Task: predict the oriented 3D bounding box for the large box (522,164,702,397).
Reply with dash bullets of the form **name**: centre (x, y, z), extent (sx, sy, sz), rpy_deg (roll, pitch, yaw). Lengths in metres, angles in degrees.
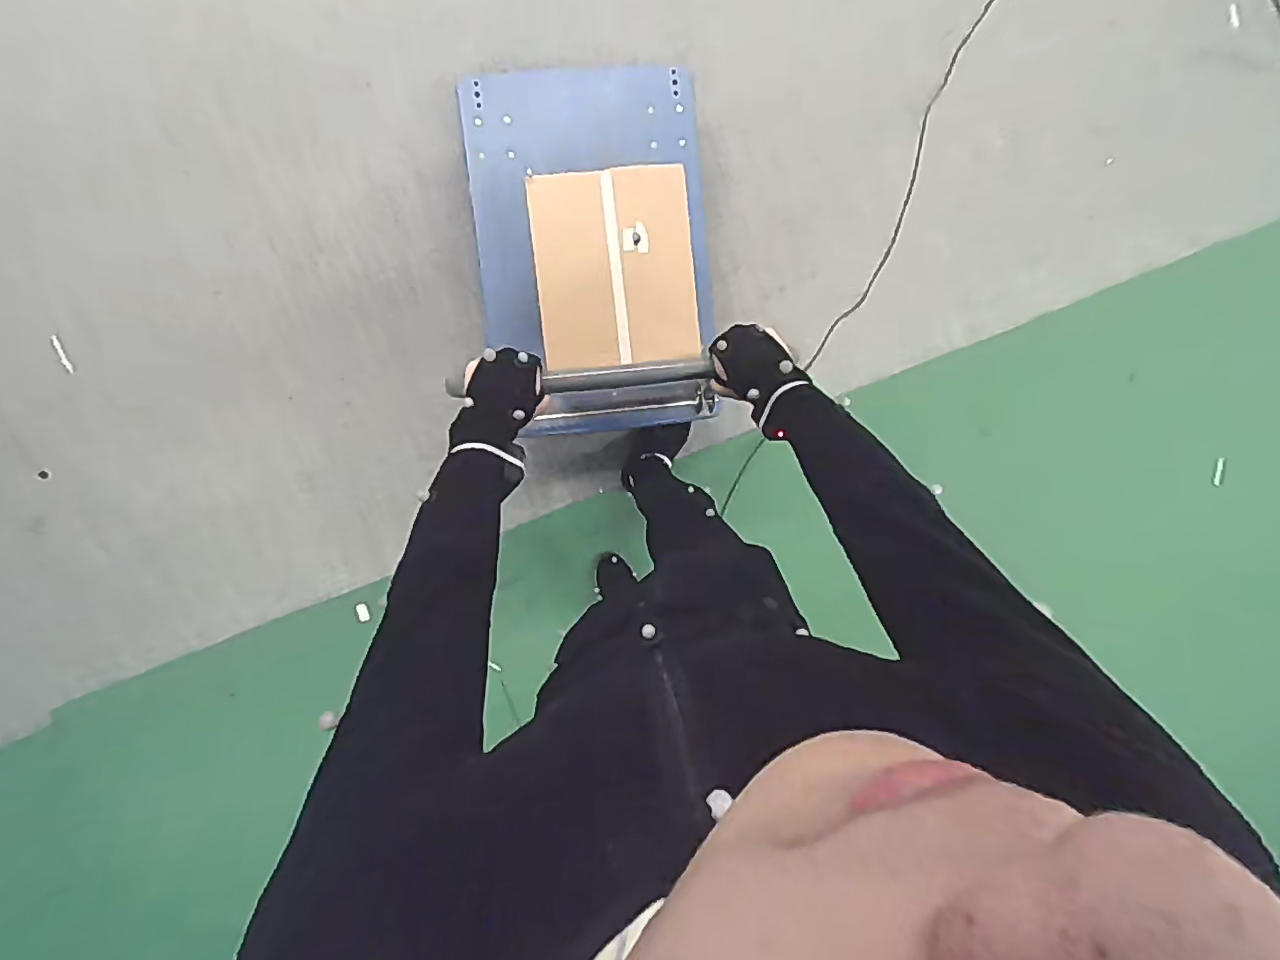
- **large box**: centre (-0.061, -0.417, 1.218), extent (0.320, 0.320, 0.408), rpy_deg (-7, 94, -4)
